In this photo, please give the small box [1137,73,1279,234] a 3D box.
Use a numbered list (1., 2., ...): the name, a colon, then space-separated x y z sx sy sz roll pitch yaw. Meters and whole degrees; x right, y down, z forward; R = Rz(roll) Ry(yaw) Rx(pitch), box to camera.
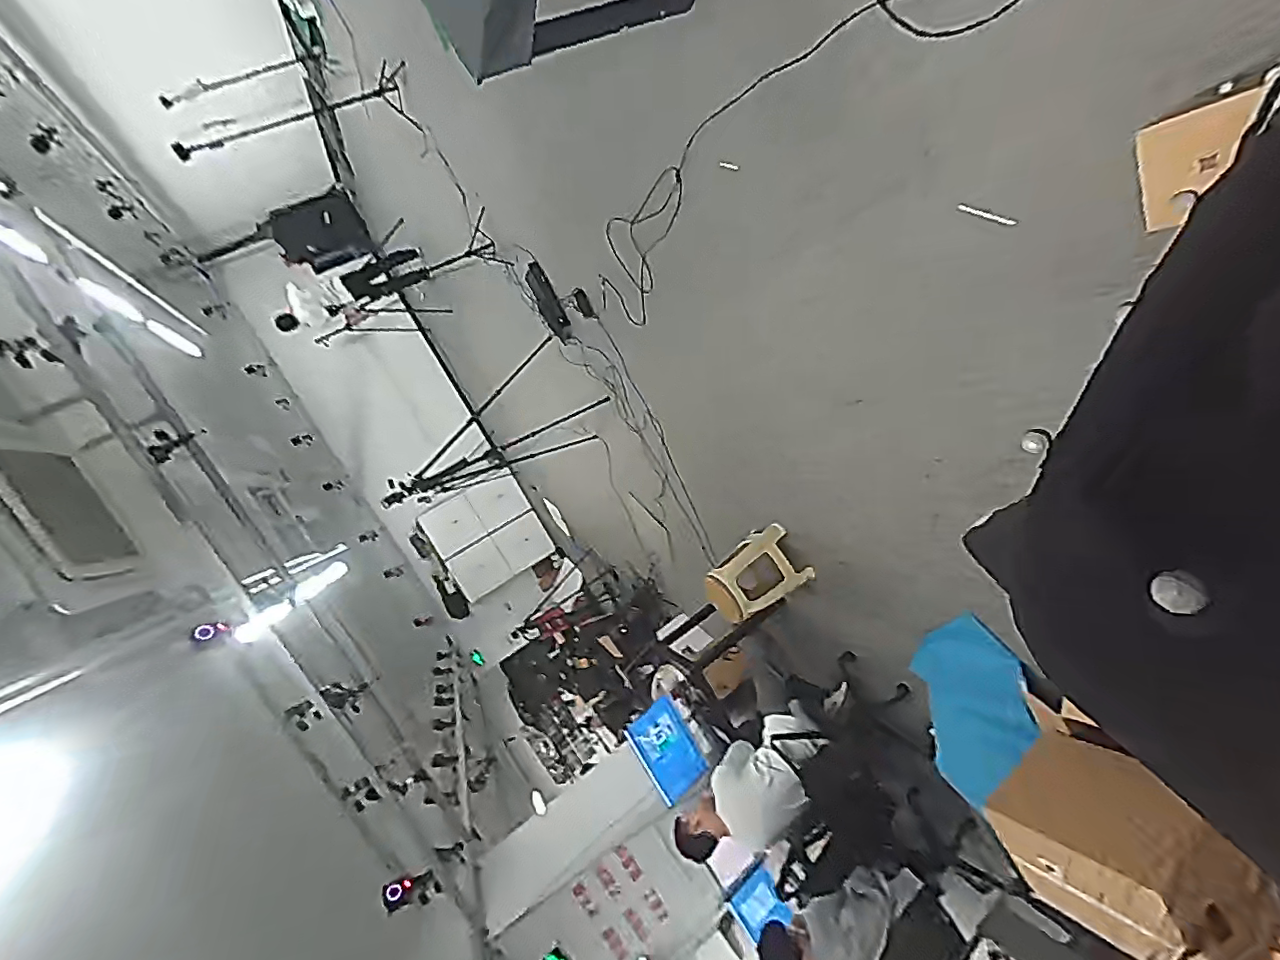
1. small box: 0.939 -0.518 0.850 0.179 0.176 0.168 13 131 63
